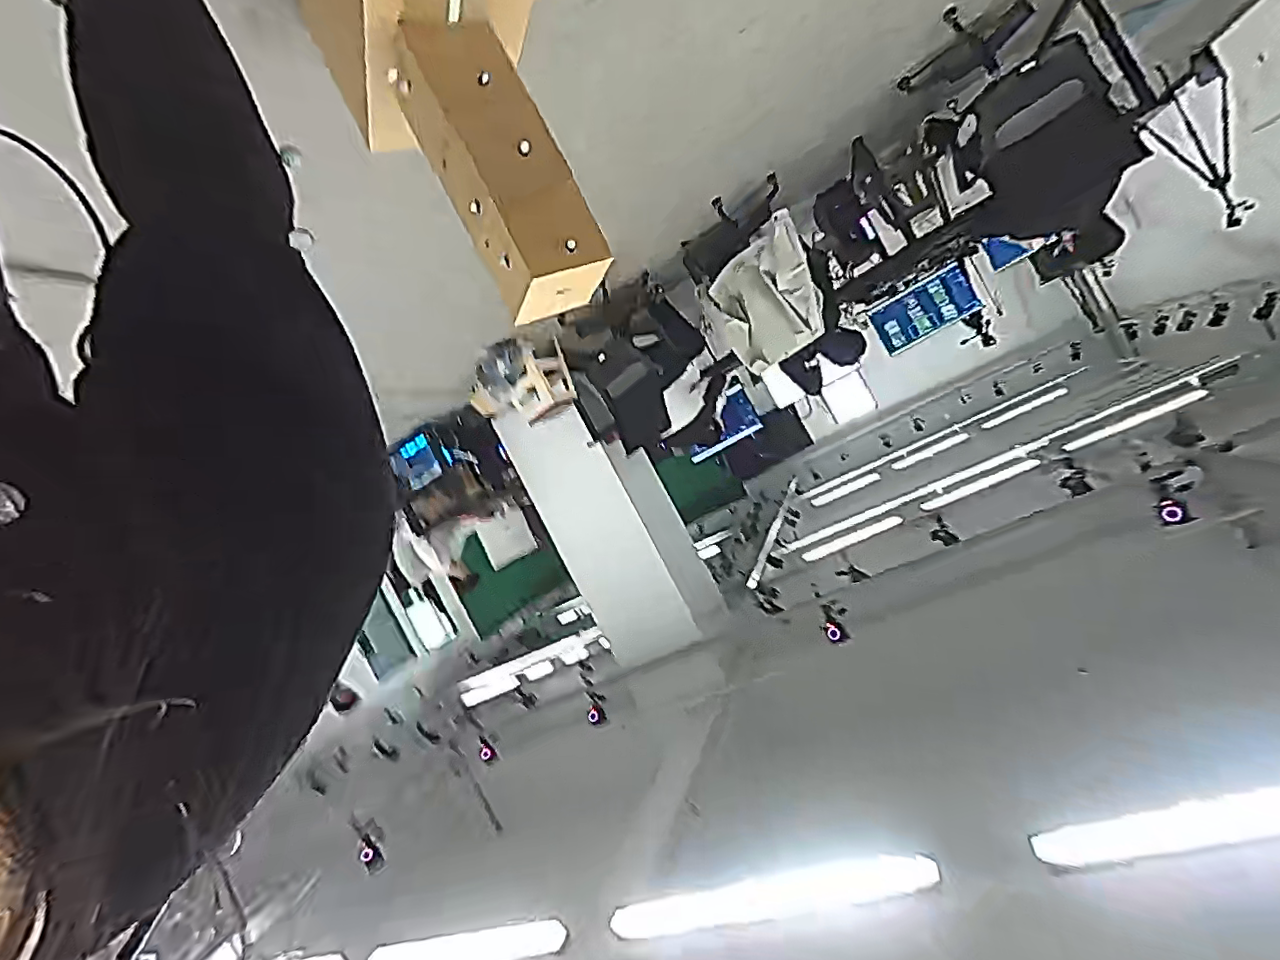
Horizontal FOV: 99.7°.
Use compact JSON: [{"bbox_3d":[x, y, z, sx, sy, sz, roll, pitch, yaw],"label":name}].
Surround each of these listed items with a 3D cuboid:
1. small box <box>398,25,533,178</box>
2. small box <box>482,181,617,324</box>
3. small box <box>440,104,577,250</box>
[{"bbox_3d":[-0.333,-0.717,1.025,0.179,0.176,0.168,-27,179,-27],"label":"small box"},{"bbox_3d":[-0.178,-0.429,1.023,0.179,0.176,0.168,-28,179,-27],"label":"small box"},{"bbox_3d":[-0.252,-0.574,1.023,0.179,0.176,0.168,-29,179,-27],"label":"small box"}]
